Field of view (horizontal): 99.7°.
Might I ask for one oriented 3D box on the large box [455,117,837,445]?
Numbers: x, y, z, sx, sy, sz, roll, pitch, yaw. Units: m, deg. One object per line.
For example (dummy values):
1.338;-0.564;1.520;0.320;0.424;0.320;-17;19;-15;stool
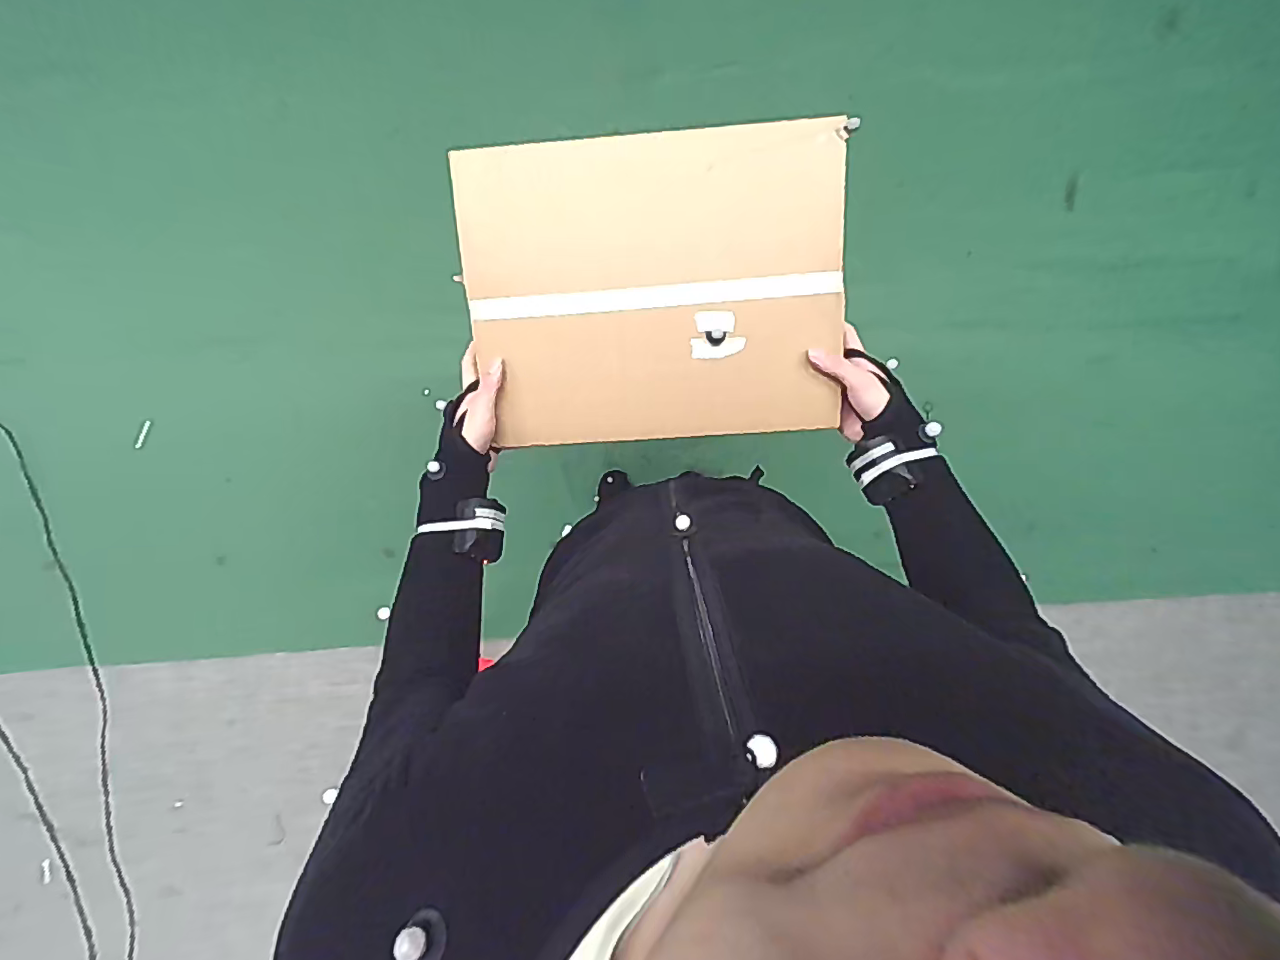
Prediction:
0.017;-0.240;0.736;0.408;0.320;0.320;-4;105;2;large box
